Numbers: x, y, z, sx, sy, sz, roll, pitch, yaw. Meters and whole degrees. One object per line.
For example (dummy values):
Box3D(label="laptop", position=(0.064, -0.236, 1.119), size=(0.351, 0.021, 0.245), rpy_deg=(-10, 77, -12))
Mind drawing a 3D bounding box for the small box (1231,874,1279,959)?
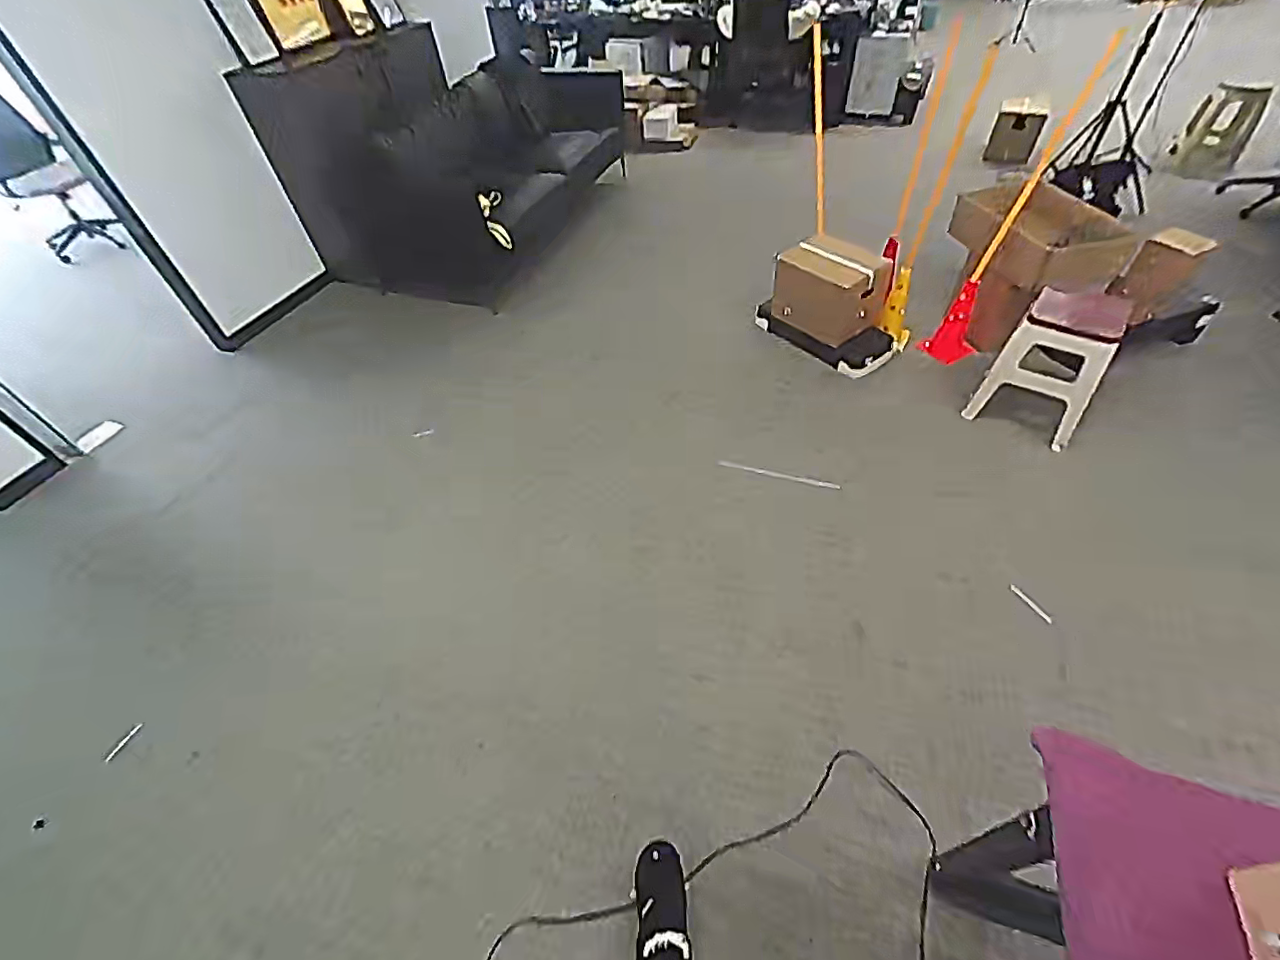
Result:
Box3D(label="small box", position=(0.781, 0.513, 0.542), size=(0.179, 0.176, 0.168), rpy_deg=(11, 49, 15))
